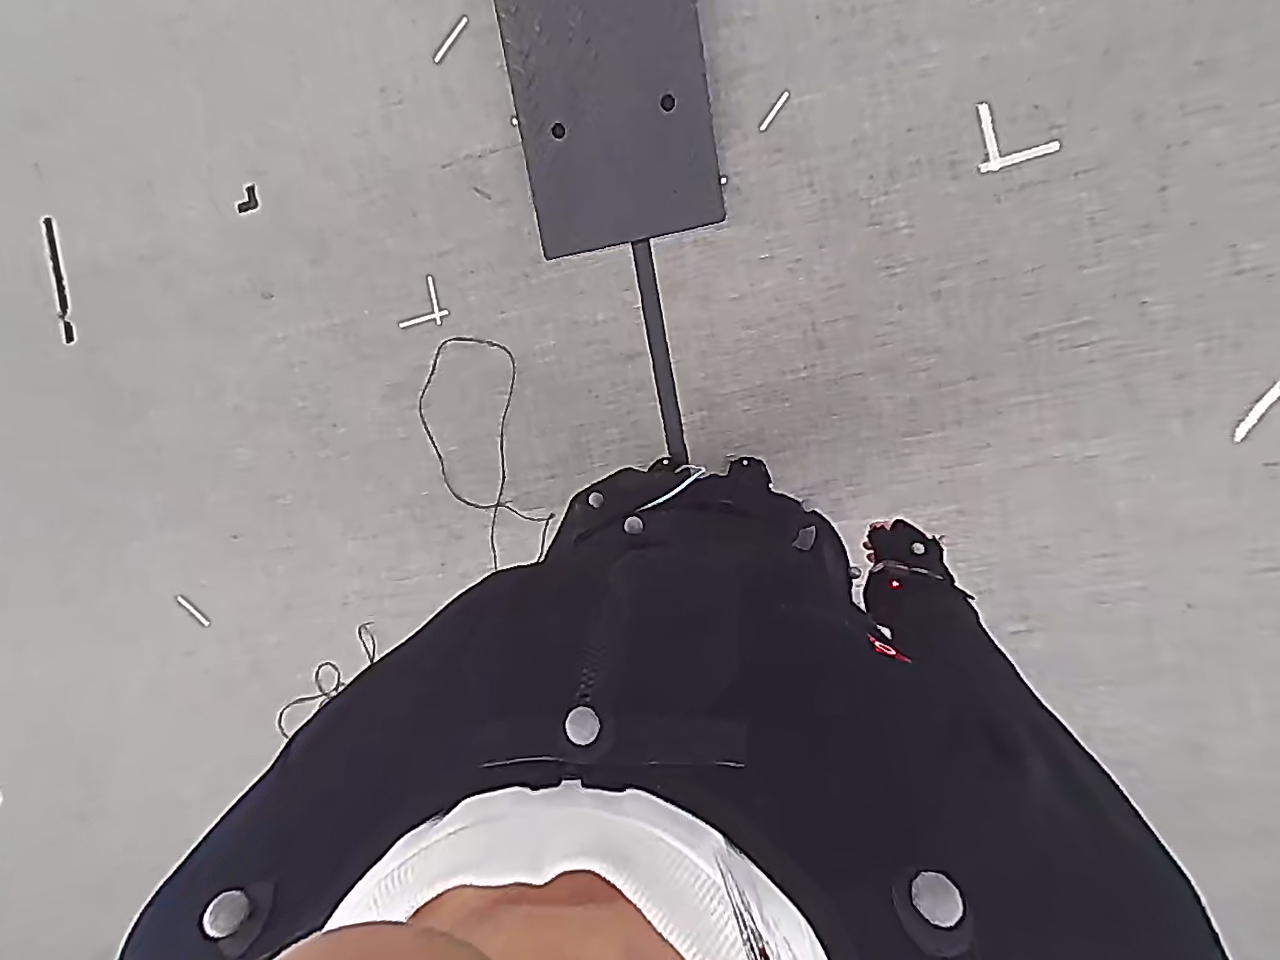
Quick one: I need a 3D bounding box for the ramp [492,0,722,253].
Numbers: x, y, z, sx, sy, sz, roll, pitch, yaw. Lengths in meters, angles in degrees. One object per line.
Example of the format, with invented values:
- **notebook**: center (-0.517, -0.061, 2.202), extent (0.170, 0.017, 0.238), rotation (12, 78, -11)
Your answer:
- **ramp**: center (-0.108, -1.123, 1.316), extent (0.509, 0.206, 0.991), rotation (-10, 92, 9)
